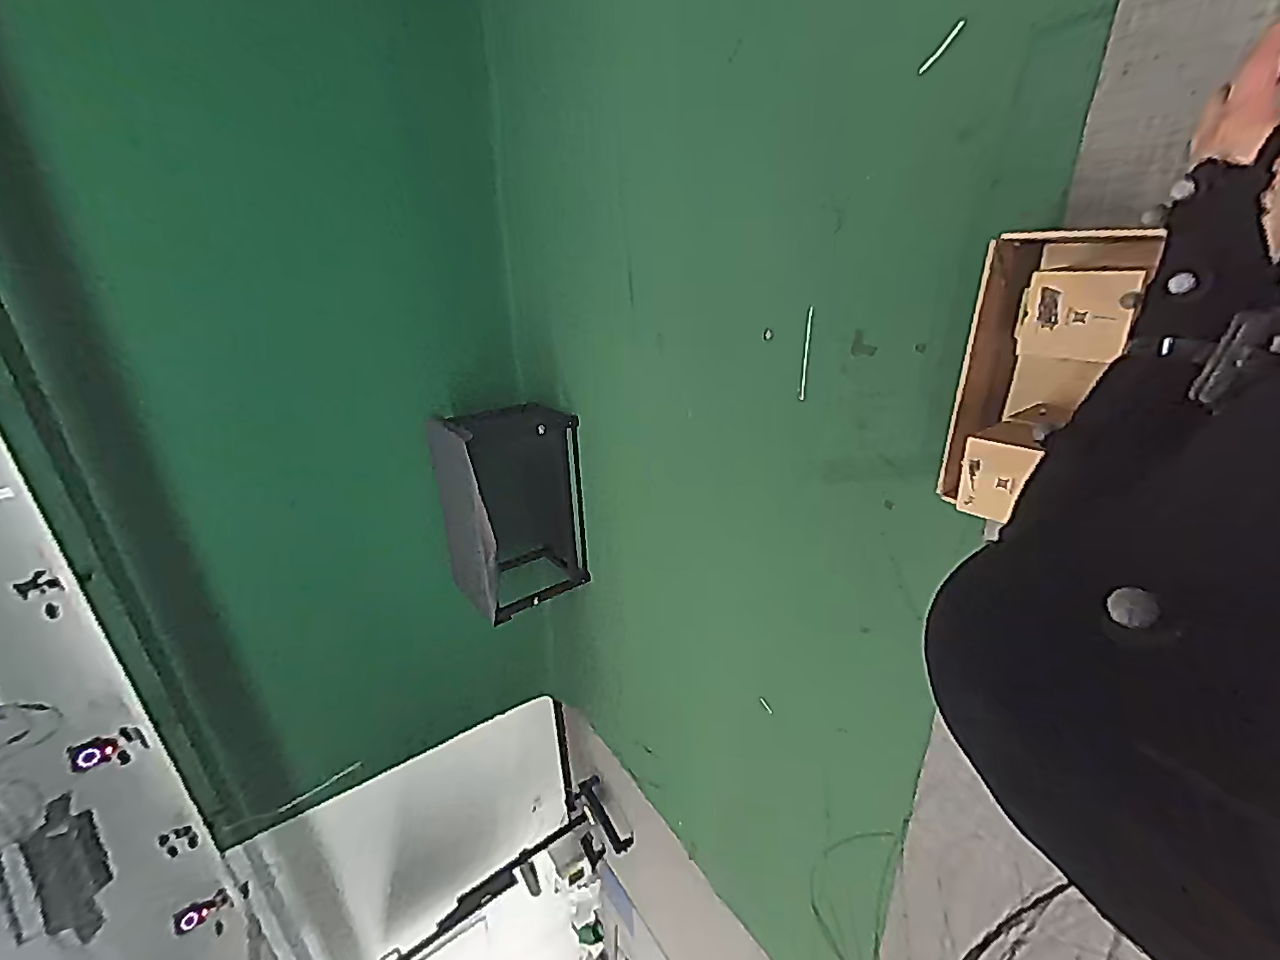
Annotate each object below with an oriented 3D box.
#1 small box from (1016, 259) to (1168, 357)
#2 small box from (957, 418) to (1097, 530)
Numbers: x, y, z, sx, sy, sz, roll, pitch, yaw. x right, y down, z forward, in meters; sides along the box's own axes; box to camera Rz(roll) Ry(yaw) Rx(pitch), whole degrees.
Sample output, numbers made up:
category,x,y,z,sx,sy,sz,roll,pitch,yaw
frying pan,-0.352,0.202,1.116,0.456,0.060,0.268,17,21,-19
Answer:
category,x,y,z,sx,sy,sz,roll,pitch,yaw
small box,0.898,-0.348,1.080,0.179,0.176,0.168,24,125,48
small box,0.787,-0.022,1.100,0.179,0.176,0.168,23,124,49
